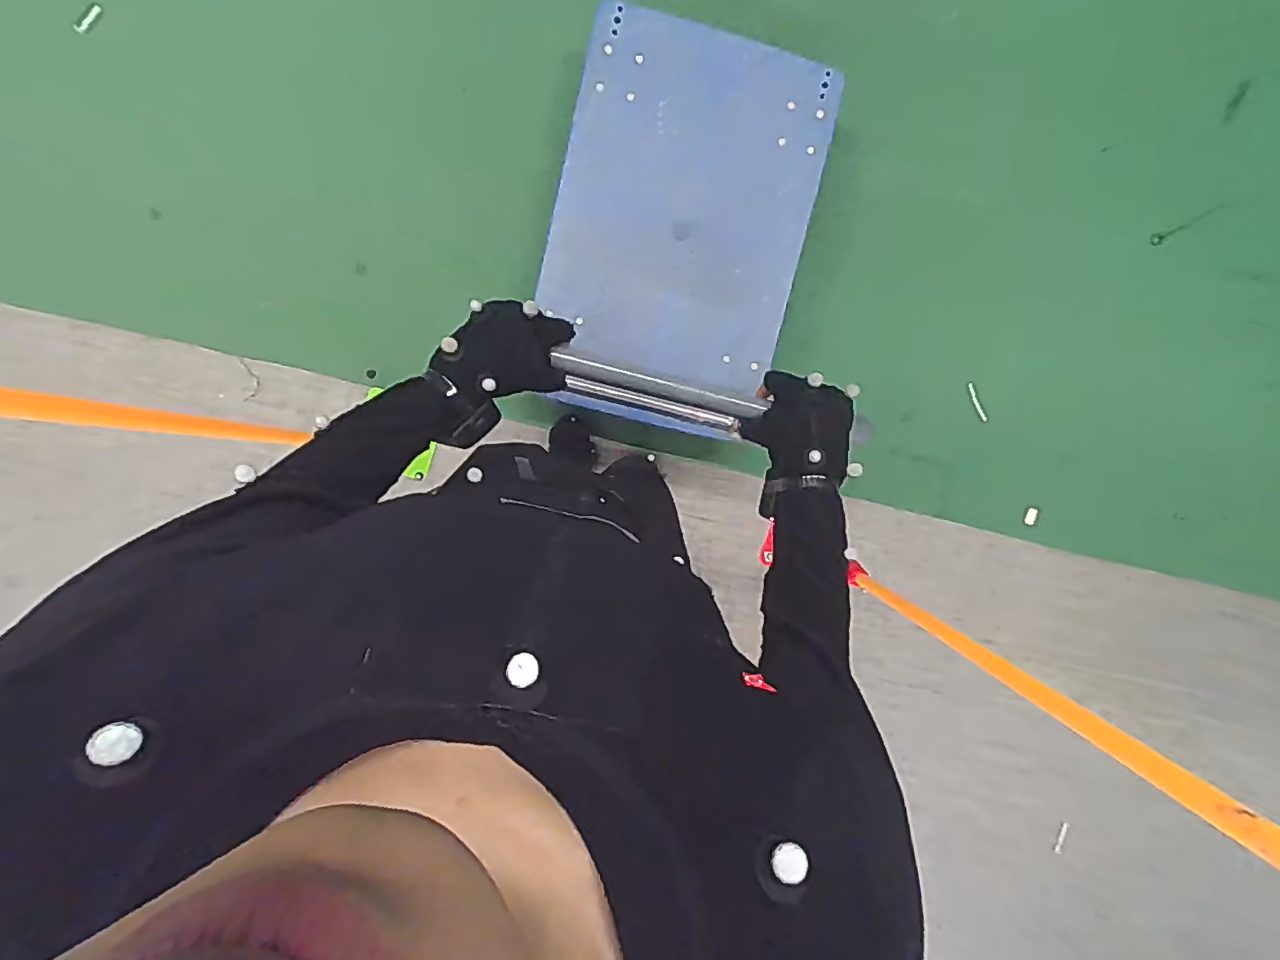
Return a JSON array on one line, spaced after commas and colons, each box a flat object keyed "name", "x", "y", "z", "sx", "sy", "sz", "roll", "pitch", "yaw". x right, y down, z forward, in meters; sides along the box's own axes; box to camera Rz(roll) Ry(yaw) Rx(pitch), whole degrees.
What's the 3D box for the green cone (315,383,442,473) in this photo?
[{"name": "green cone", "x": -0.629, "y": -0.116, "z": 1.247, "sx": 0.202, "sy": 0.368, "sz": 0.200, "roll": 18, "pitch": 95, "yaw": -5}]
